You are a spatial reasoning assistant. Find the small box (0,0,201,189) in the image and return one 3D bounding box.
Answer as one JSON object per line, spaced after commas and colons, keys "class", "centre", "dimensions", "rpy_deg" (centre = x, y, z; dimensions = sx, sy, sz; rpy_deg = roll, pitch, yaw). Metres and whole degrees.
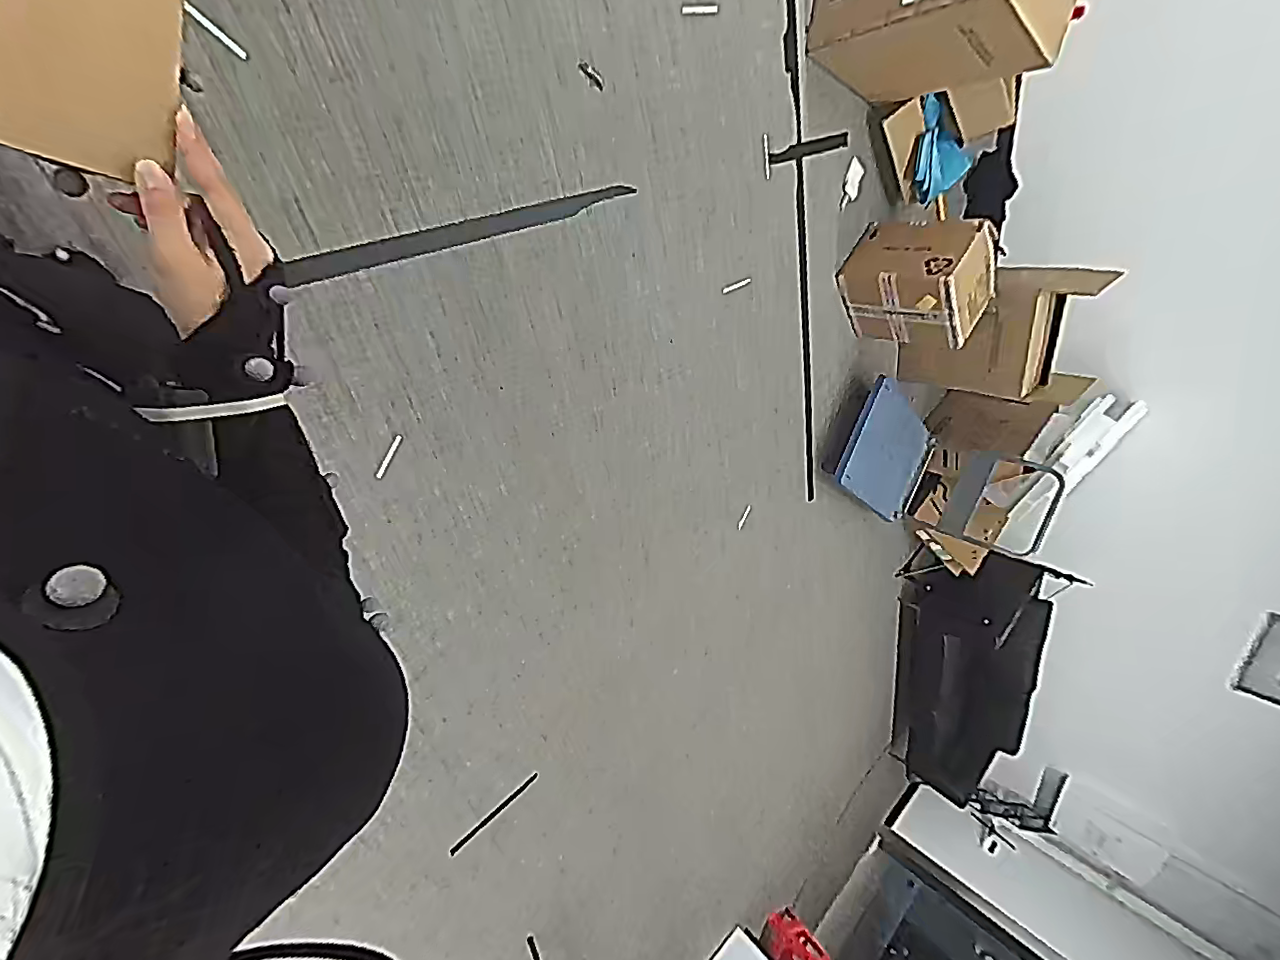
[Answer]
{"class": "small box", "centre": [-0.364, -0.284, 0.300], "dimensions": [0.179, 0.176, 0.168], "rpy_deg": [3, 110, -43]}
